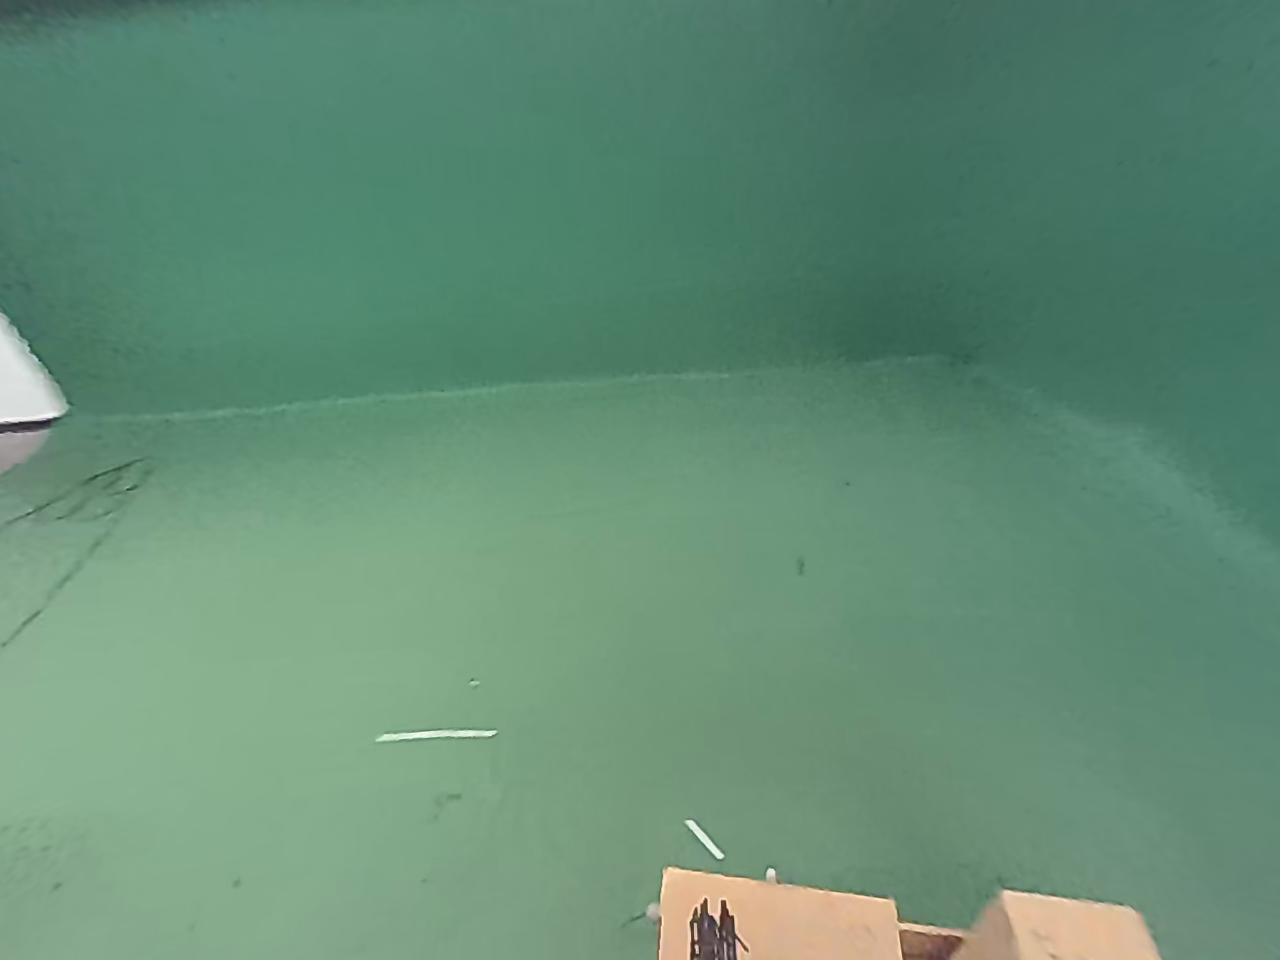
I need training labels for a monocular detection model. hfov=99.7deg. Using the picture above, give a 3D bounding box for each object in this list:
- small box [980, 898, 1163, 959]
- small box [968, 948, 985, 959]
[{"bbox_3d":[0.613,0.722,0.753,0.179,0.176,0.168,1,36,12],"label":"small box"},{"bbox_3d":[0.632,0.858,0.845,0.179,0.176,0.168,2,37,14],"label":"small box"}]
